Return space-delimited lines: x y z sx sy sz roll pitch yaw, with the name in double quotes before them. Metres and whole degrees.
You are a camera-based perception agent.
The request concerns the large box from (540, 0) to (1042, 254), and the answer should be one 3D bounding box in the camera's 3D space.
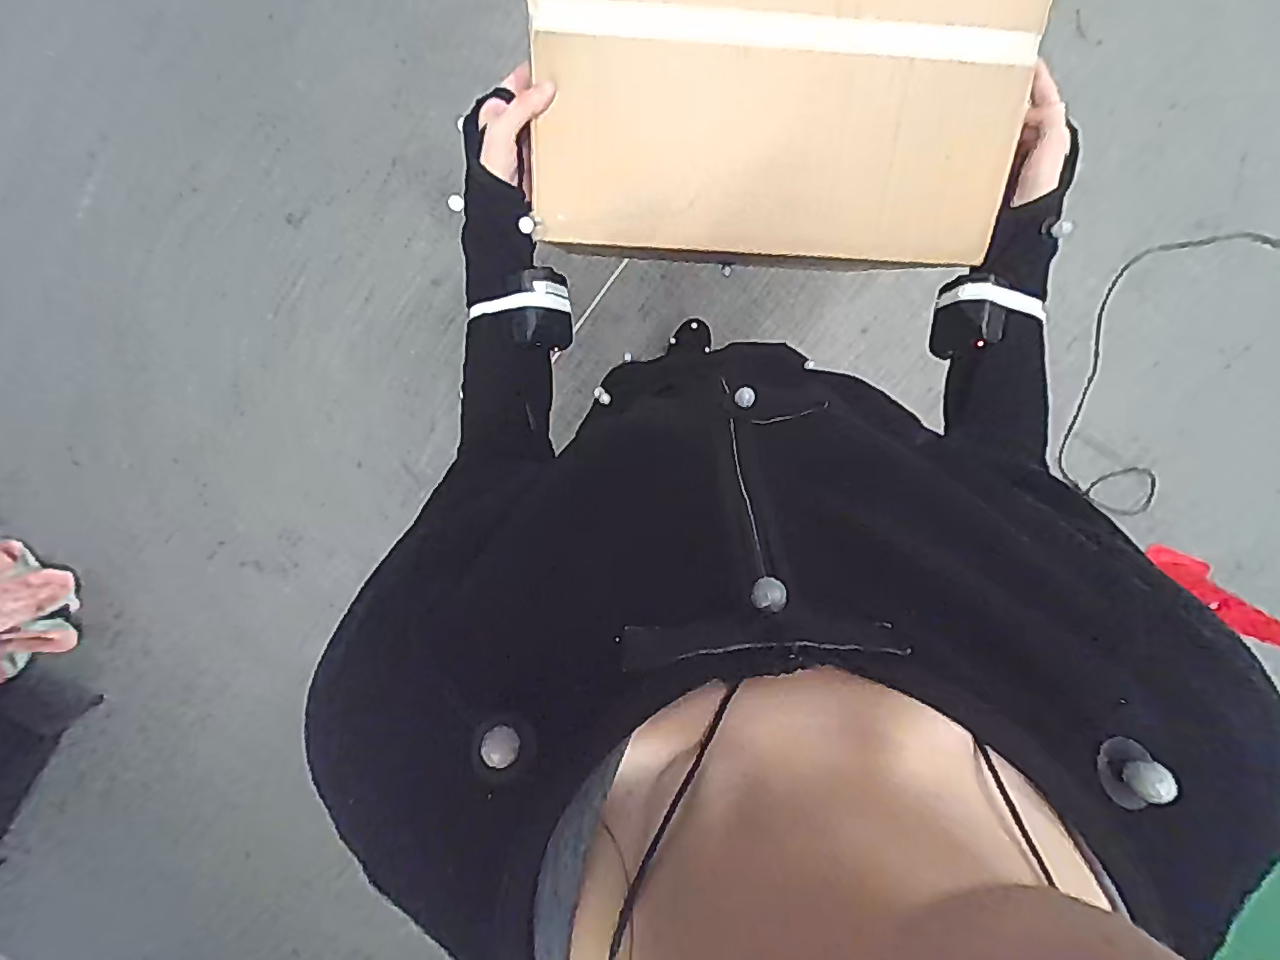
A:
"large box" 0.119 -0.412 0.573 0.408 0.320 0.320 2 110 -2
